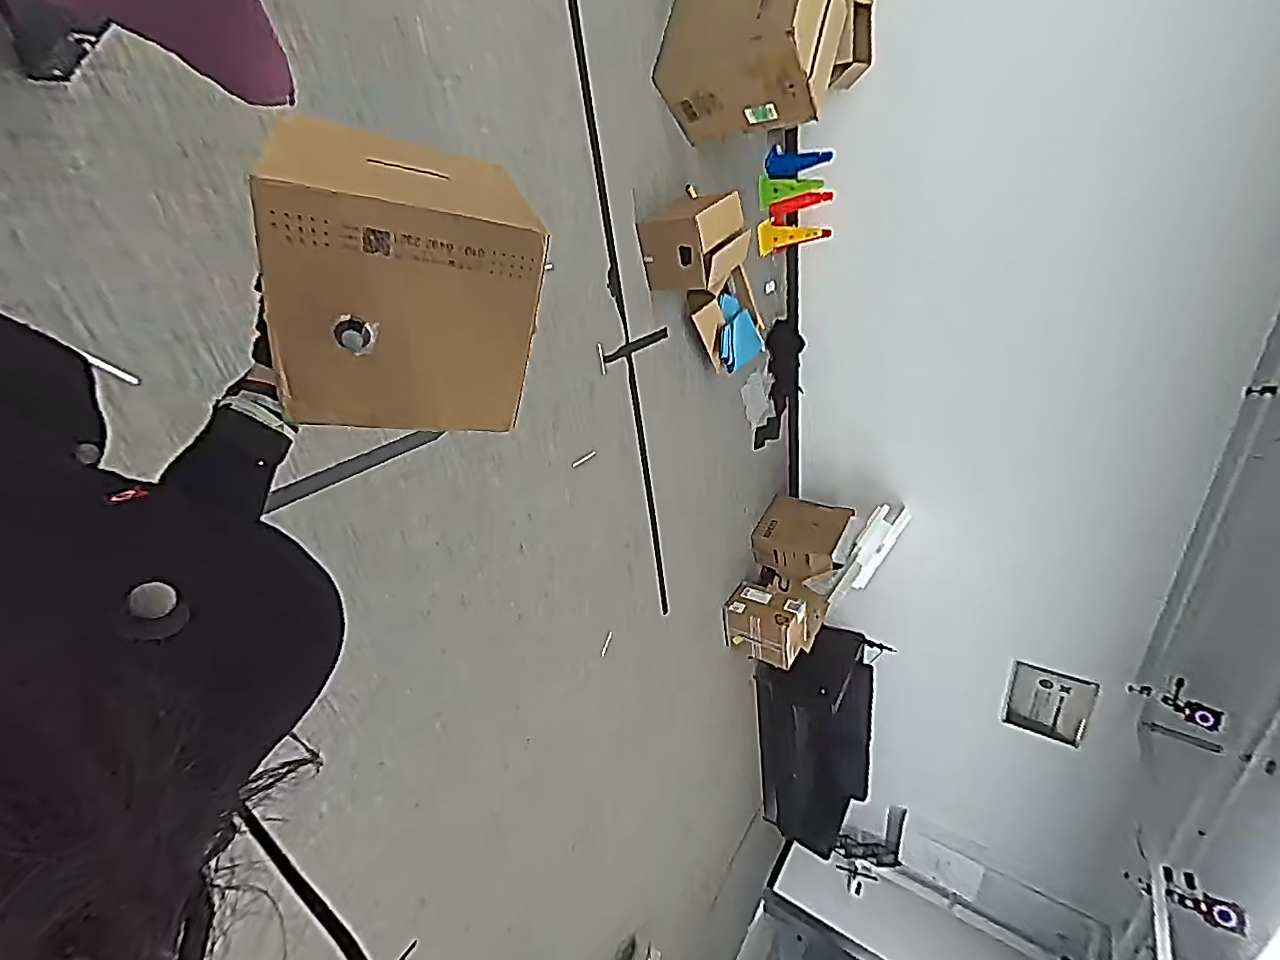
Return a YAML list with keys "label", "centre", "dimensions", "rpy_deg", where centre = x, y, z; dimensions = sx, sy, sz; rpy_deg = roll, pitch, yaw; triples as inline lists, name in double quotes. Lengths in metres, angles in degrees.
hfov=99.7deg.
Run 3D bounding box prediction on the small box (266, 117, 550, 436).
- label: "small box"
  centre: [-0.177, -0.154, 0.419]
  dimensions: [0.168, 0.179, 0.176]
  rpy_deg: [2, 130, -28]
